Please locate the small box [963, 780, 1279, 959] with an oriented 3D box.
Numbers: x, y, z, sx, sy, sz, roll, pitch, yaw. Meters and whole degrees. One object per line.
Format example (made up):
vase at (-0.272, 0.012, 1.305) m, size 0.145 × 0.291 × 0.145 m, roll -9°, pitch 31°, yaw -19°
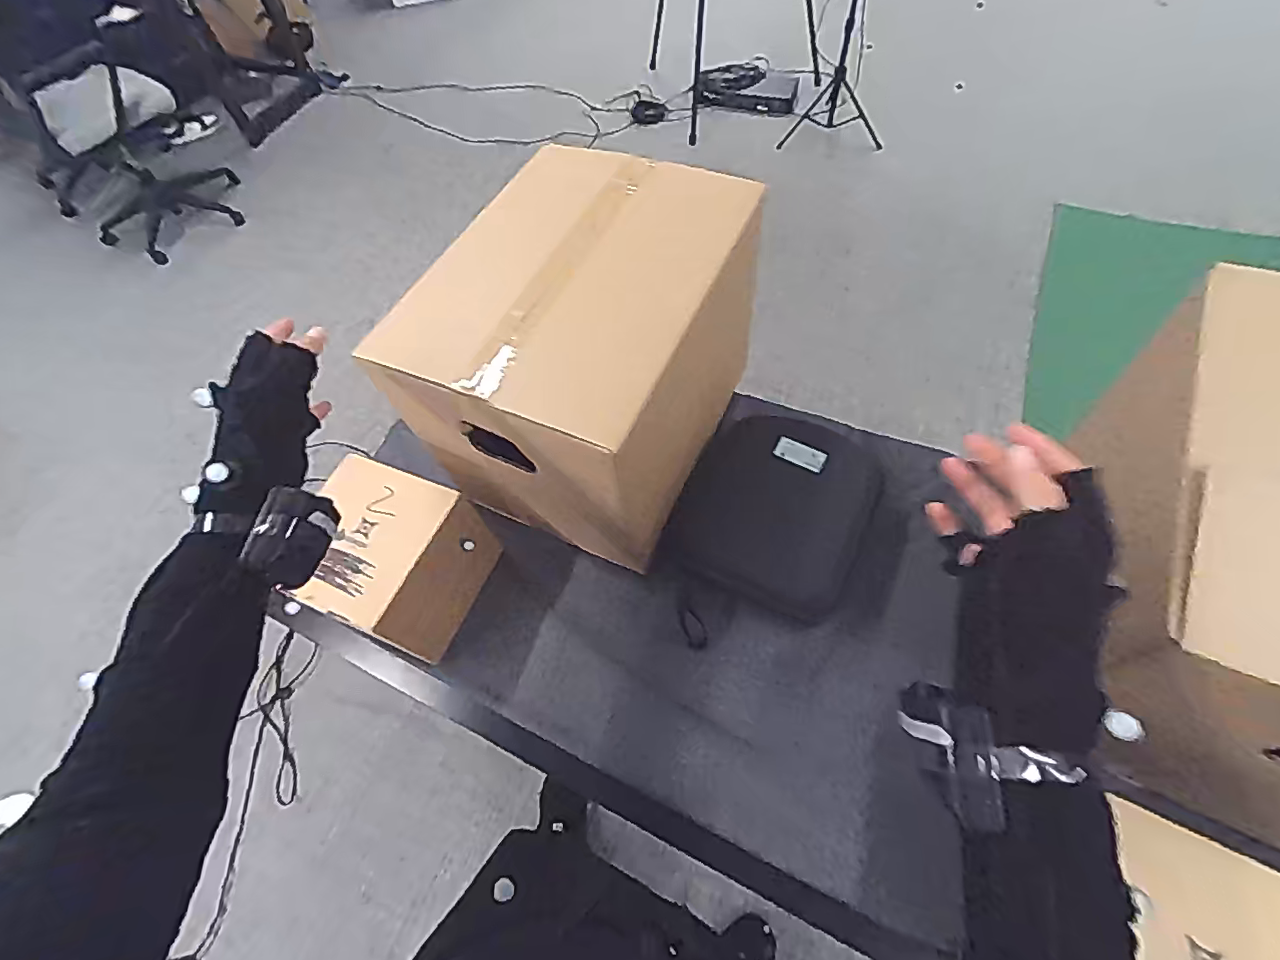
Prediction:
small box at (0.404, 0.380, 0.454) m, size 0.168 × 0.176 × 0.179 m, roll 23°, pitch 66°, yaw 18°
